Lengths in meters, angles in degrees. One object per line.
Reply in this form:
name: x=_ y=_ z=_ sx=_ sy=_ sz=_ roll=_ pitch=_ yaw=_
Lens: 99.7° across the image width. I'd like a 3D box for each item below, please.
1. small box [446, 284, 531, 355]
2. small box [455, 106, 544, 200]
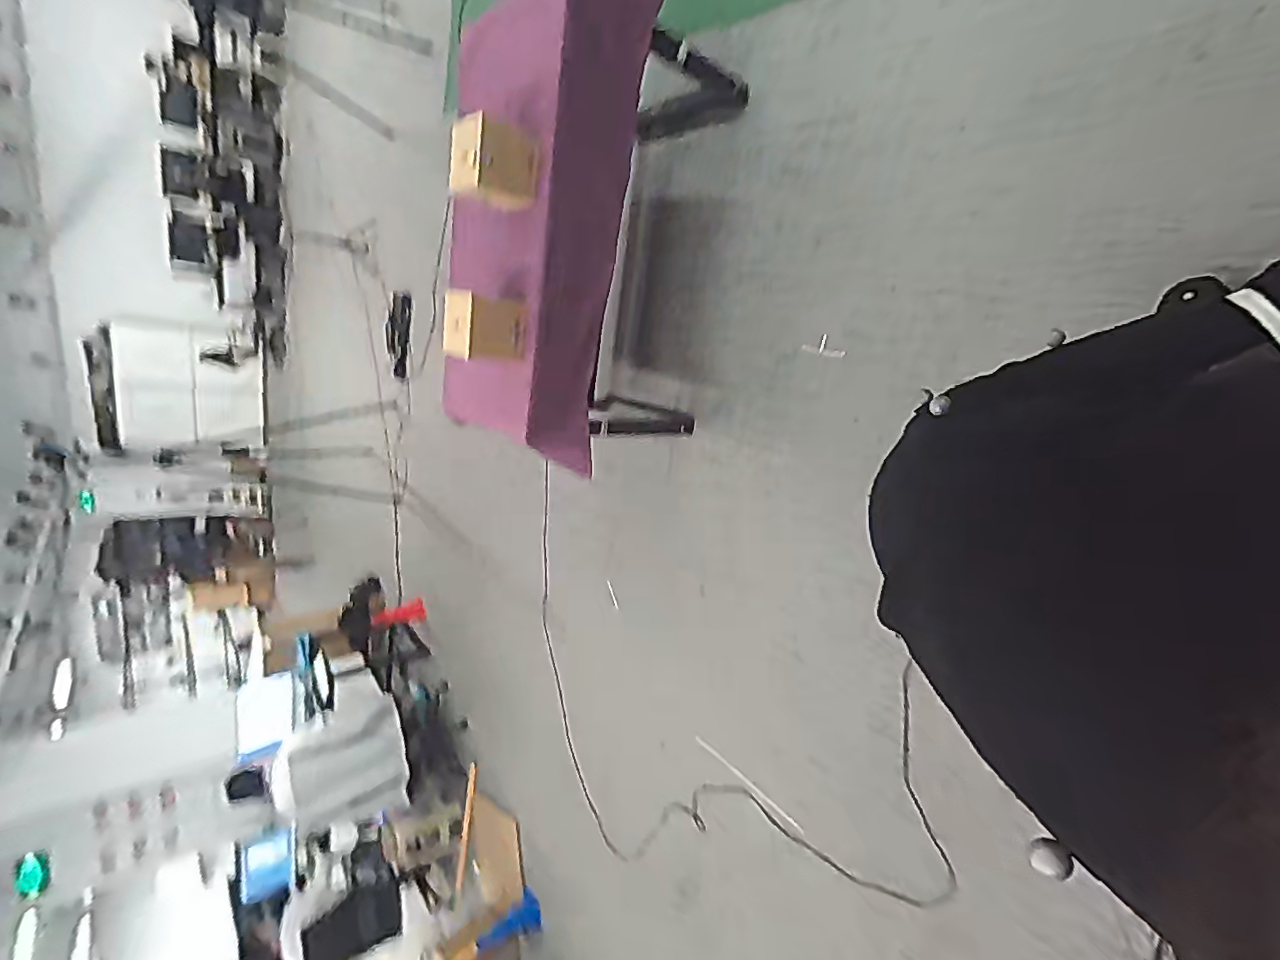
small box: x=-0.433 y=-0.455 z=1.542 sx=0.179 sy=0.176 sz=0.168 roll=24 pitch=111 yaw=44
small box: x=-0.376 y=-0.858 z=1.440 sx=0.179 sy=0.176 sz=0.168 roll=24 pitch=112 yaw=45
